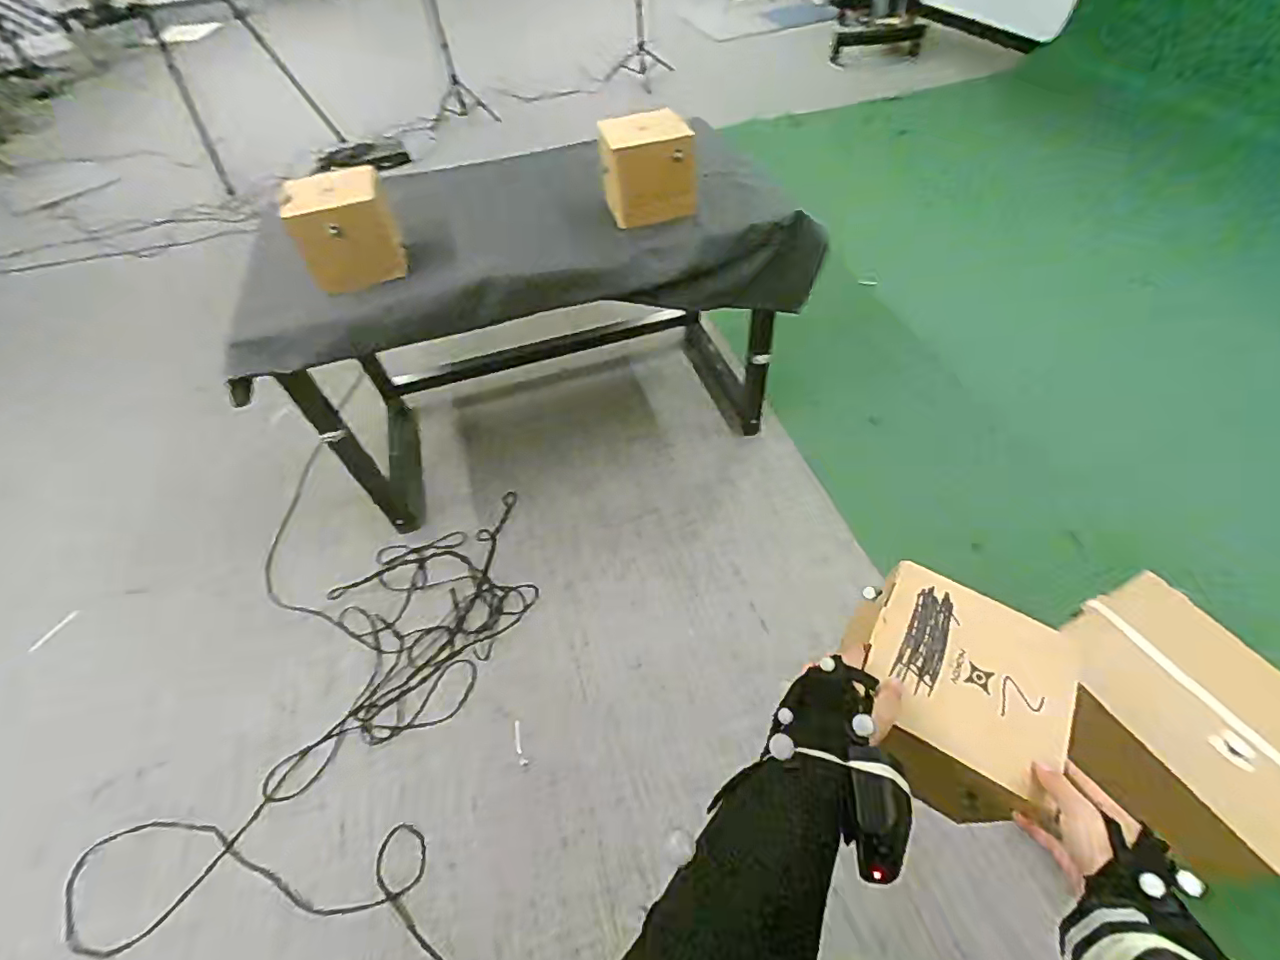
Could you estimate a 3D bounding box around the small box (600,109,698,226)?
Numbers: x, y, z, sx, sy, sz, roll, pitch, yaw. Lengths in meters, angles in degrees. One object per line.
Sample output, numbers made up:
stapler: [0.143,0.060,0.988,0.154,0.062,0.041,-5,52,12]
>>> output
small box: [0.023,-0.684,1.191,0.179,0.176,0.168,-14,52,-6]

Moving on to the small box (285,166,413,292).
small box: [-0.593,-0.514,1.119,0.179,0.176,0.168,-16,54,-9]
